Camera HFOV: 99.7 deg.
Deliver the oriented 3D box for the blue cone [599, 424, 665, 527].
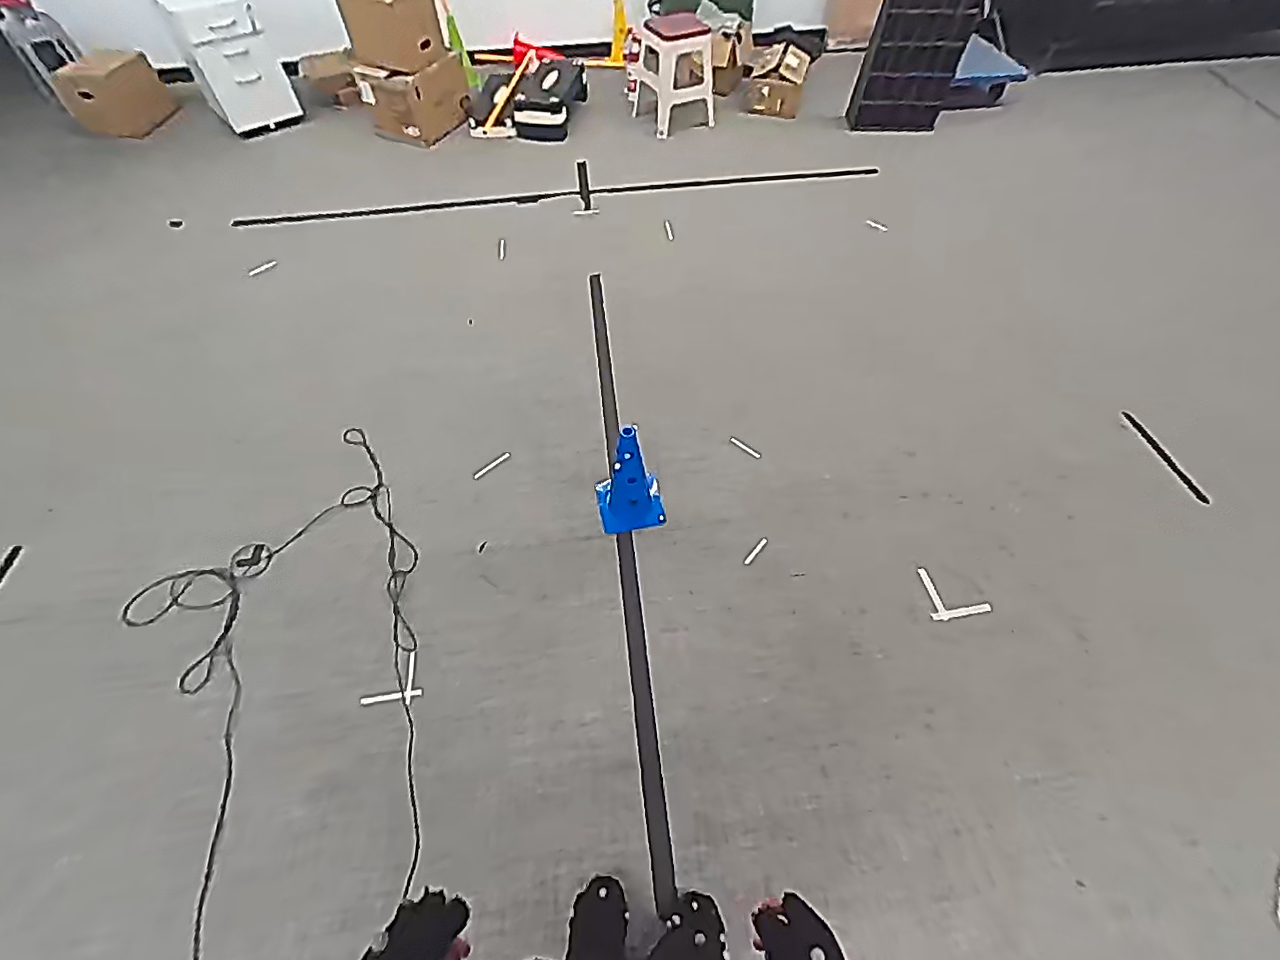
[{"bbox_3d":[-0.027,-0.030,1.594,0.192,0.380,0.193,-8,56,-7],"label":"blue cone"}]
